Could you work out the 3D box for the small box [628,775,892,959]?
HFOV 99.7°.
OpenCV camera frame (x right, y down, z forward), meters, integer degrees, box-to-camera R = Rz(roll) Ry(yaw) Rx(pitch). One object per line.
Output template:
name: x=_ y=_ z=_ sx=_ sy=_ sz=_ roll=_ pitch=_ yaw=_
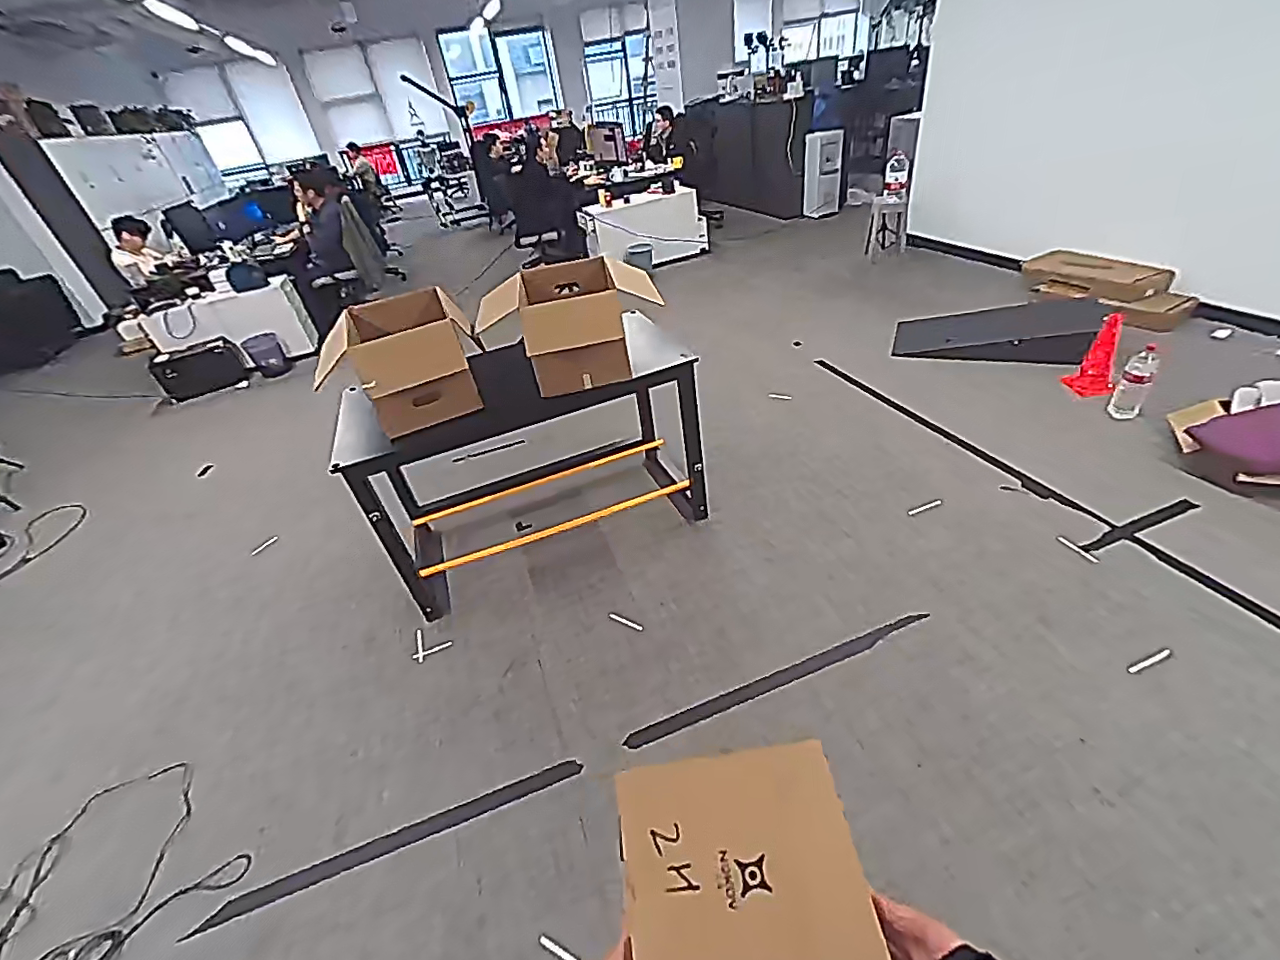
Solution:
small box: x=0.090 y=0.368 z=0.455 sx=0.179 sy=0.176 sz=0.168 roll=-9 pitch=48 yaw=0
